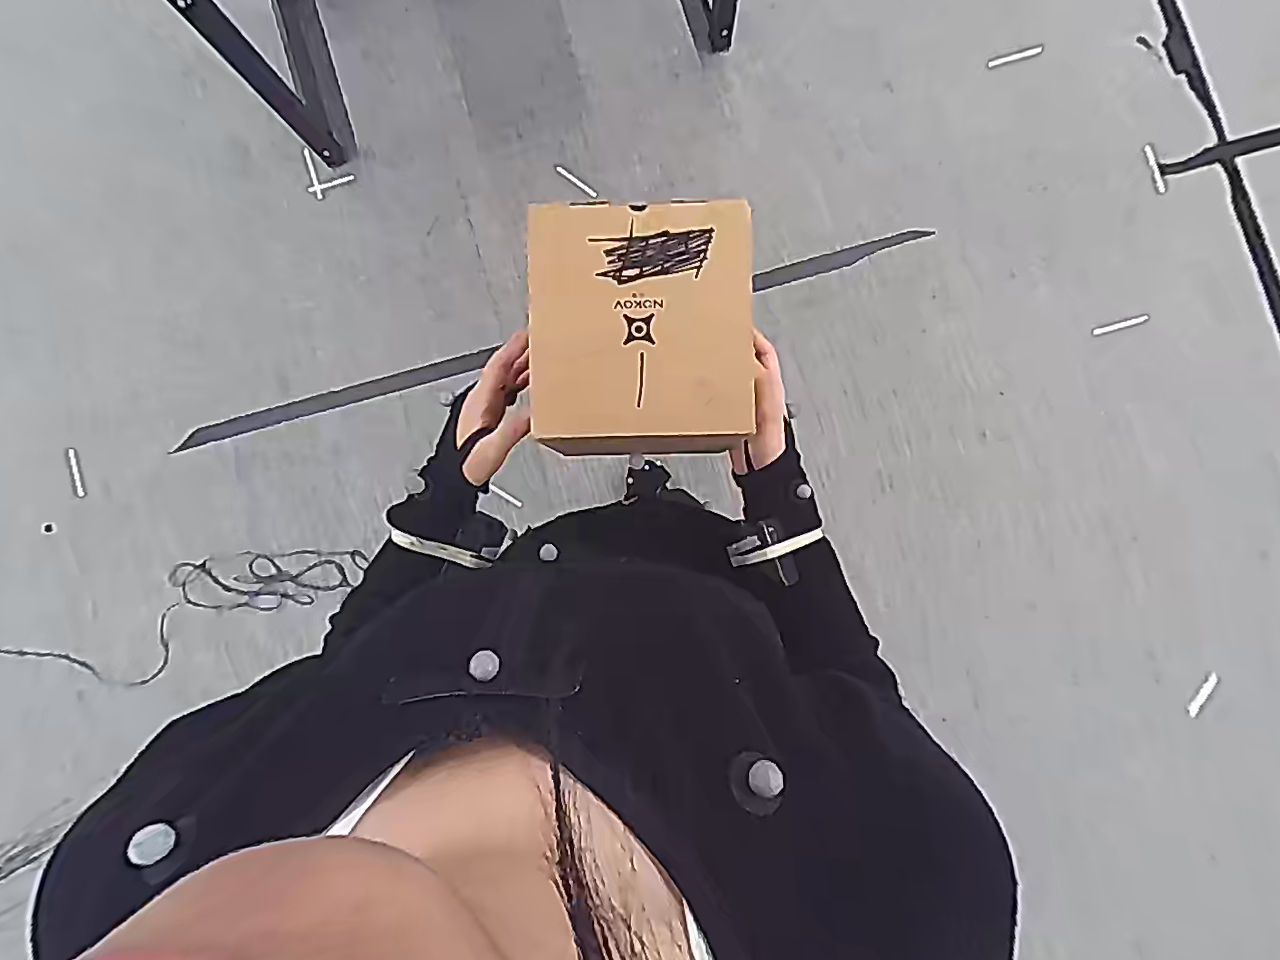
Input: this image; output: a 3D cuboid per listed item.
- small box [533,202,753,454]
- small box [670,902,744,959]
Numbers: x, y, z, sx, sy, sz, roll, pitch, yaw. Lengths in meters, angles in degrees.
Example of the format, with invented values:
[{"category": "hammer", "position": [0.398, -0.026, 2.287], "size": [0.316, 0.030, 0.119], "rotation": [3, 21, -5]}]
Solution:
[{"category": "small box", "position": [0.001, -0.118, 0.482], "size": [0.168, 0.176, 0.179], "rotation": [-1, 89, 0]}, {"category": "small box", "position": [0.175, 1.226, 1.376], "size": [0.179, 0.176, 0.168], "rotation": [-11, 88, 0]}]
